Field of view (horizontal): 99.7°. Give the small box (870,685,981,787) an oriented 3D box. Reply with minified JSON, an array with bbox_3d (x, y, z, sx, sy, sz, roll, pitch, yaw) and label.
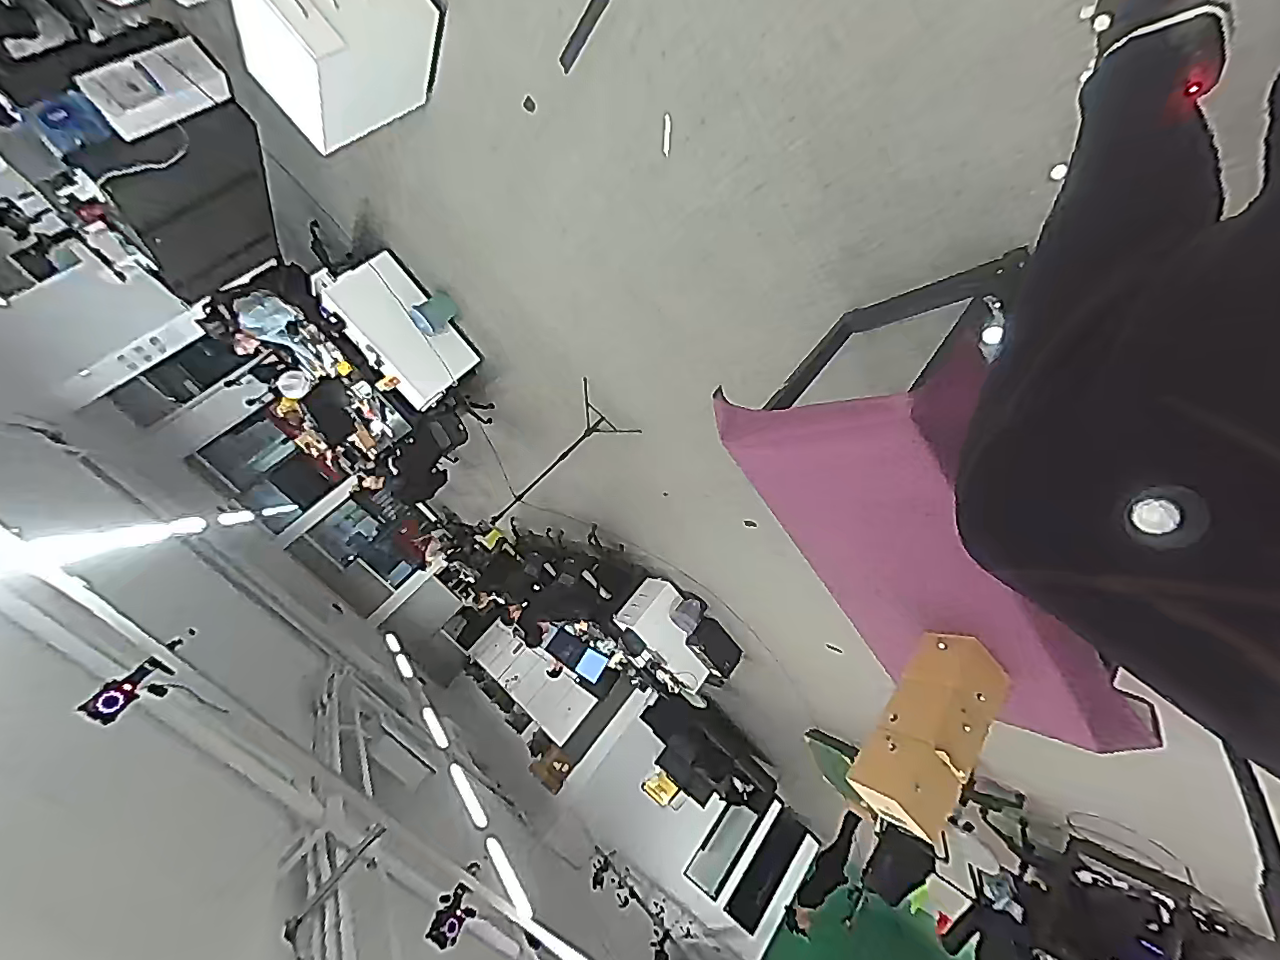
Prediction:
[{"bbox_3d":[0.777,0.685,1.471,0.168,0.176,0.179,46,156,-9],"label":"small box"}]

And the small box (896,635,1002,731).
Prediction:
[{"bbox_3d":[0.877,0.568,1.530,0.179,0.176,0.168,48,156,-9],"label":"small box"}]
